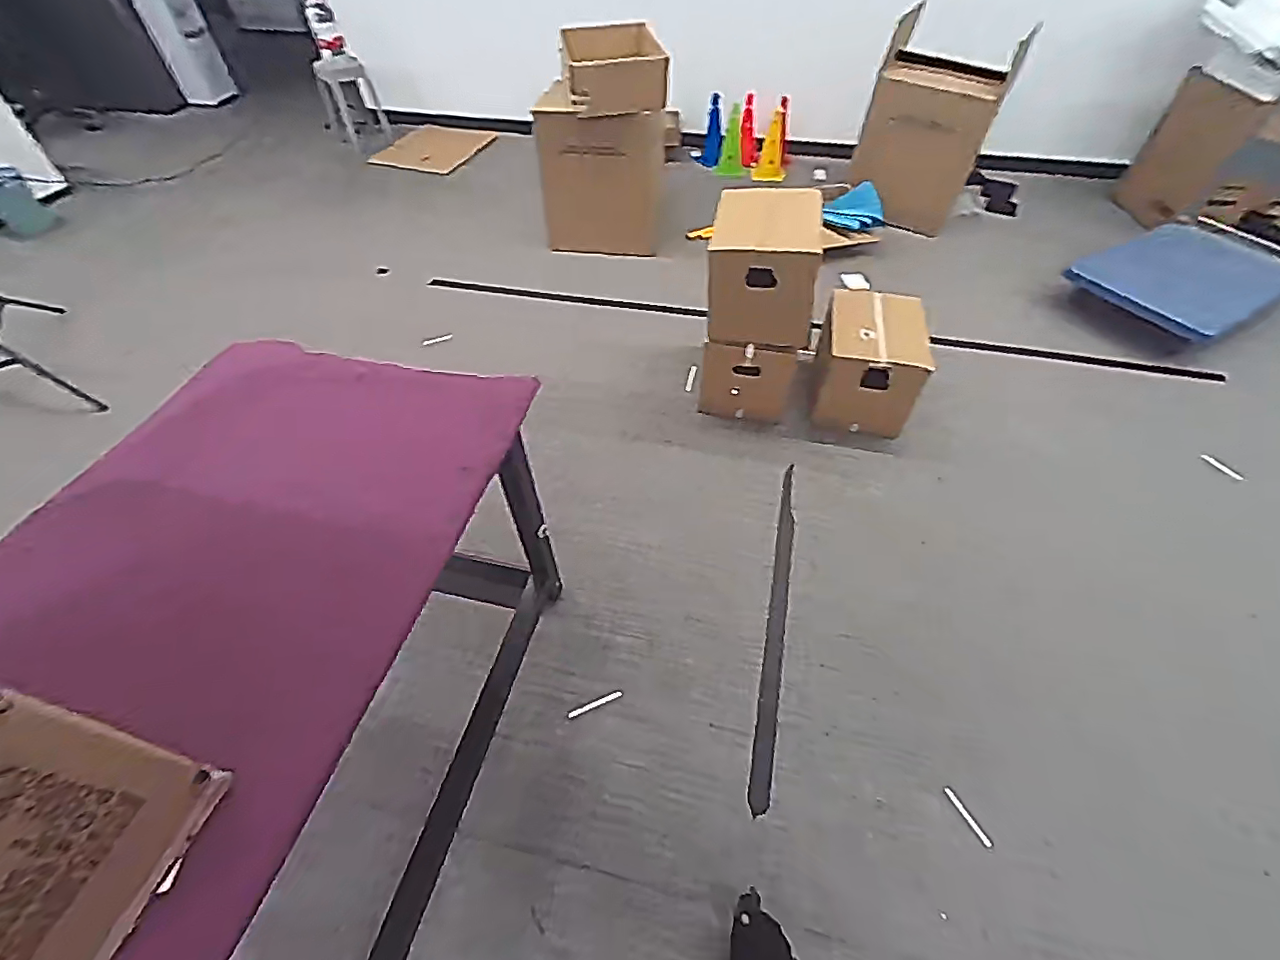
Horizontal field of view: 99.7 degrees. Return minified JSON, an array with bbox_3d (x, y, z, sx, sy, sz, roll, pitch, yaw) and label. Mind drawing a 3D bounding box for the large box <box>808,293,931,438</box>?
[{"bbox_3d":[0.796,-0.414,1.939,0.320,0.320,0.408,8,52,8],"label":"large box"}]
